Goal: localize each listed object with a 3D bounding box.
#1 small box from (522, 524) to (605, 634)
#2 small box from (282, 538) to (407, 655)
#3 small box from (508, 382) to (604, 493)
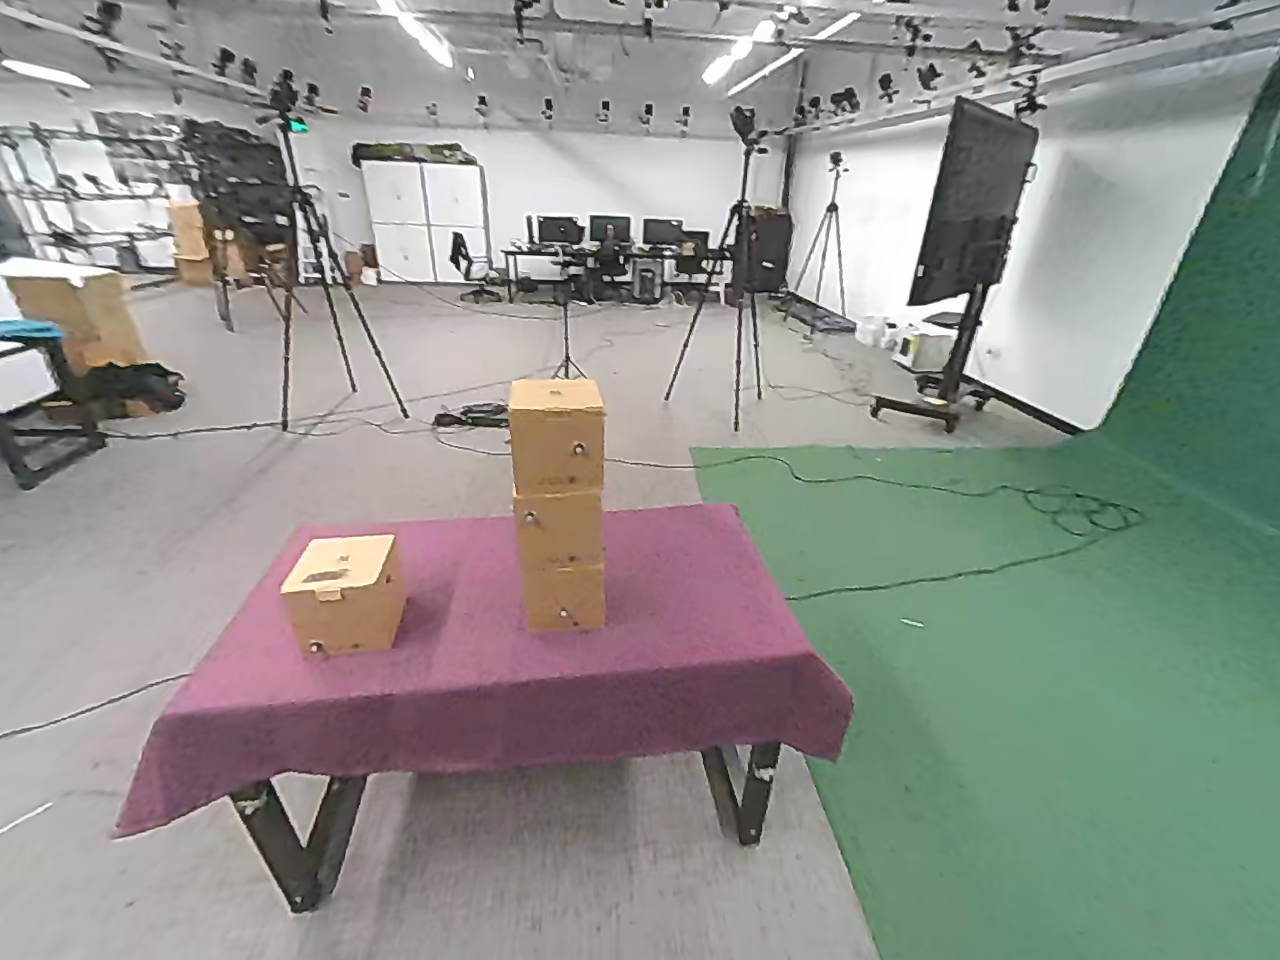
[{"bbox_3d":[-0.163,0.213,1.182,0.168,0.176,0.179,-2,28,-6],"label":"small box"},{"bbox_3d":[-0.589,0.241,1.108,0.168,0.176,0.179,-3,27,-9],"label":"small box"},{"bbox_3d":[-0.158,-0.081,1.038,0.168,0.176,0.179,-3,27,-9],"label":"small box"}]
